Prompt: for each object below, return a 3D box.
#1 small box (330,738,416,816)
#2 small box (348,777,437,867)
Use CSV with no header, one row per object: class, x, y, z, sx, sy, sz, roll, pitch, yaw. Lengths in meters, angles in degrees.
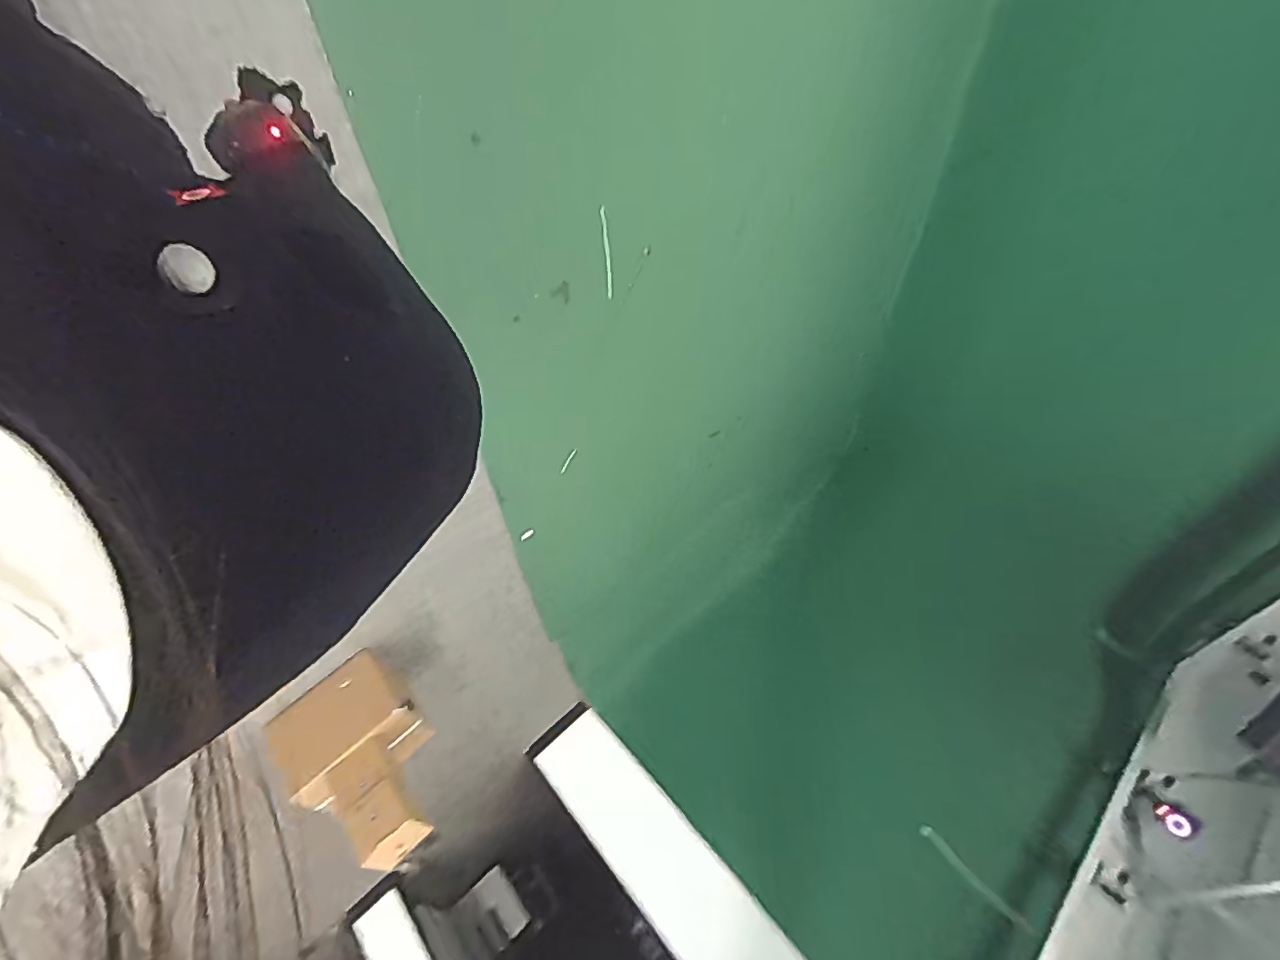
small box,-0.897,1.006,1.815,0.179,0.176,0.168,-38,143,-23
small box,-0.789,1.084,1.722,0.168,0.176,0.179,-40,143,-22
